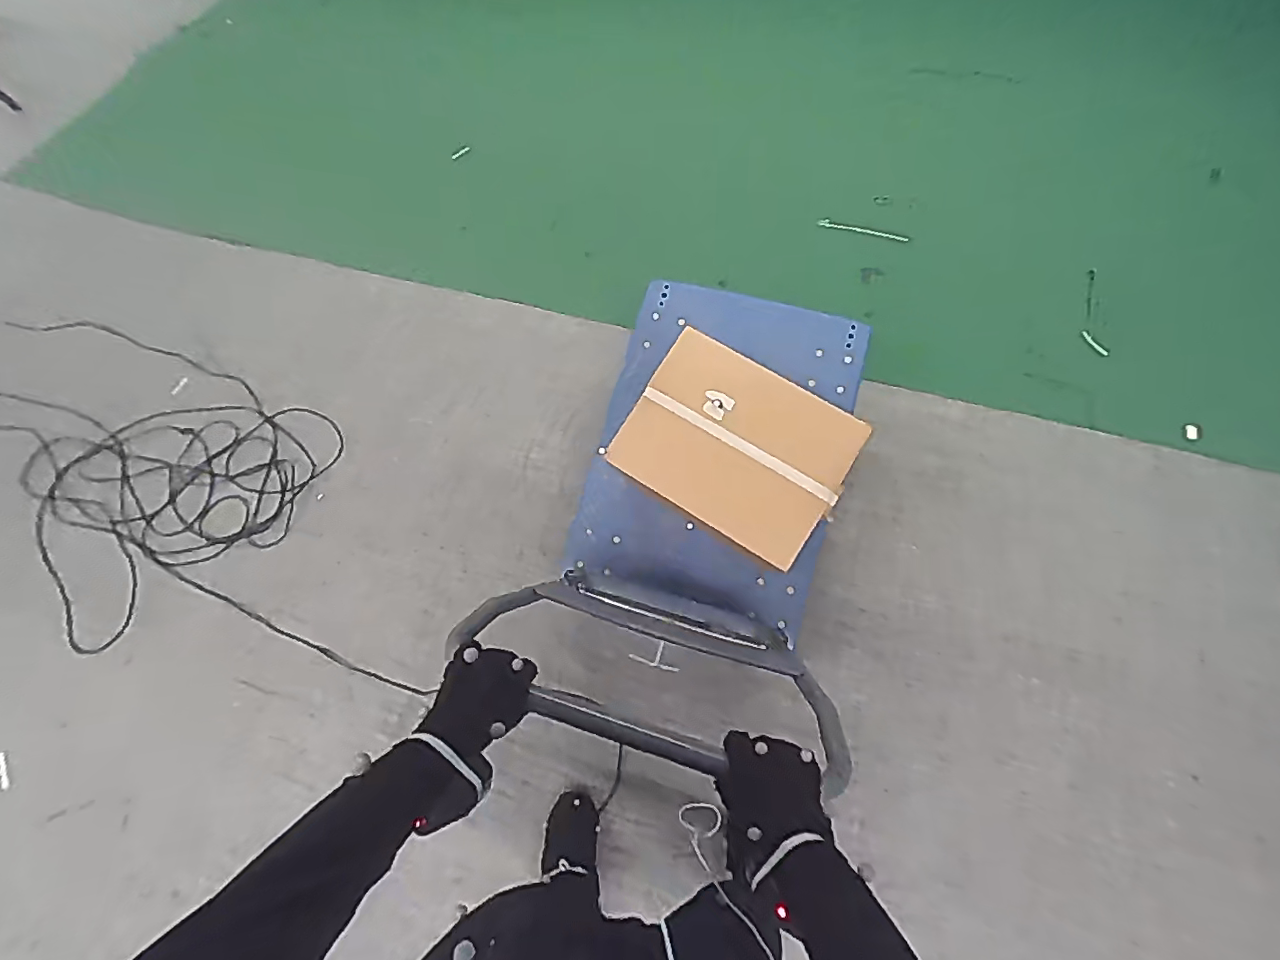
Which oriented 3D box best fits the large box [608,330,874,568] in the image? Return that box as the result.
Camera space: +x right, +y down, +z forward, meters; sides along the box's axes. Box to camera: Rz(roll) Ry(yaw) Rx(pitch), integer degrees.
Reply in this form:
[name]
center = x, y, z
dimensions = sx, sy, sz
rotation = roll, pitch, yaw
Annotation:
[large box]
center = 0.204, -0.045, 1.152
dimensions = 0.408, 0.320, 0.320
rotation = 32, 86, 12
